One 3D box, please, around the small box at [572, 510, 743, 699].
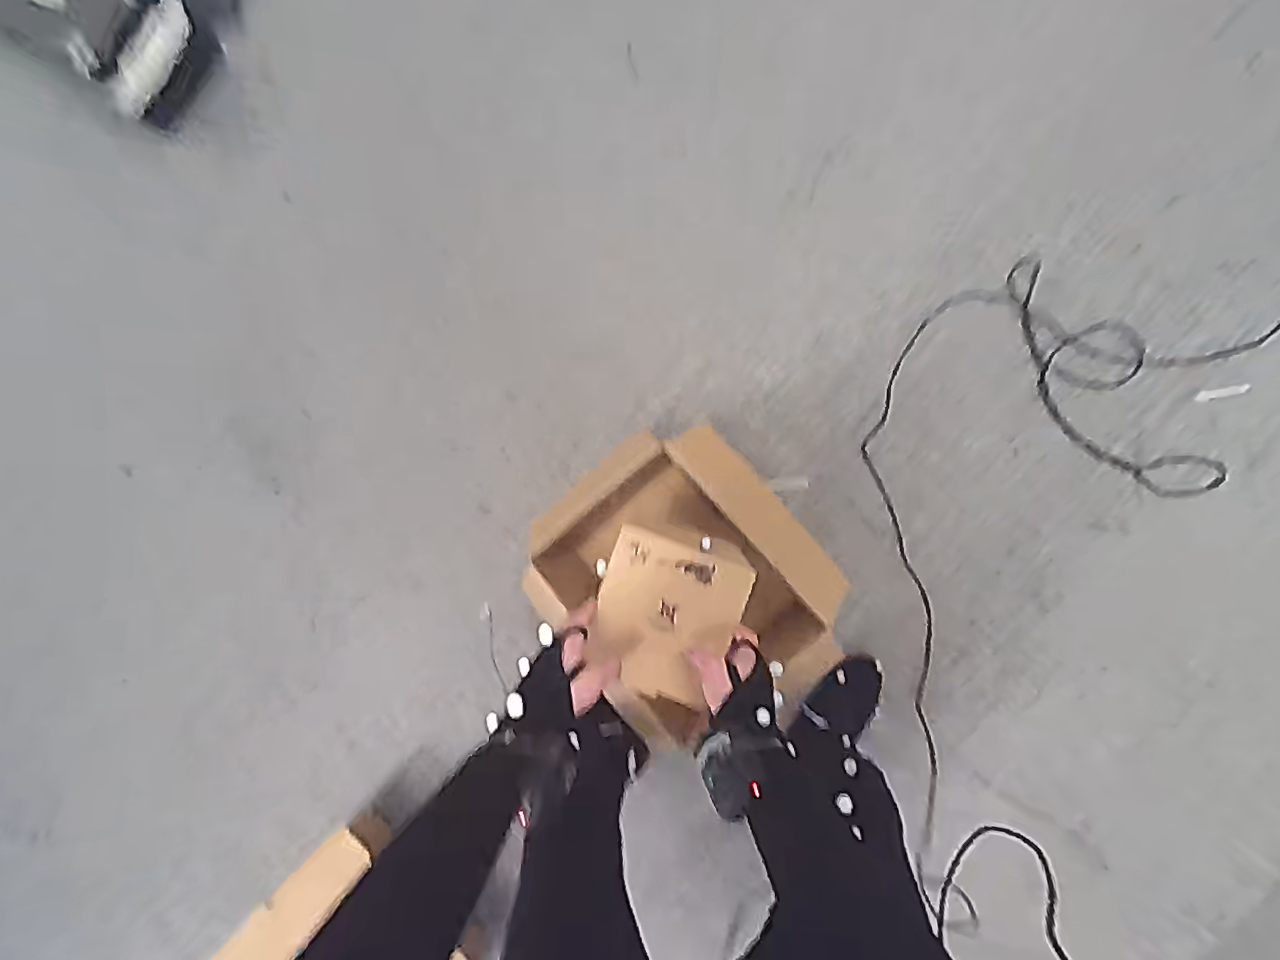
[{"bbox_3d":[0.027,0.150,0.717,0.168,0.176,0.179,18,93,3],"label":"small box"}]
